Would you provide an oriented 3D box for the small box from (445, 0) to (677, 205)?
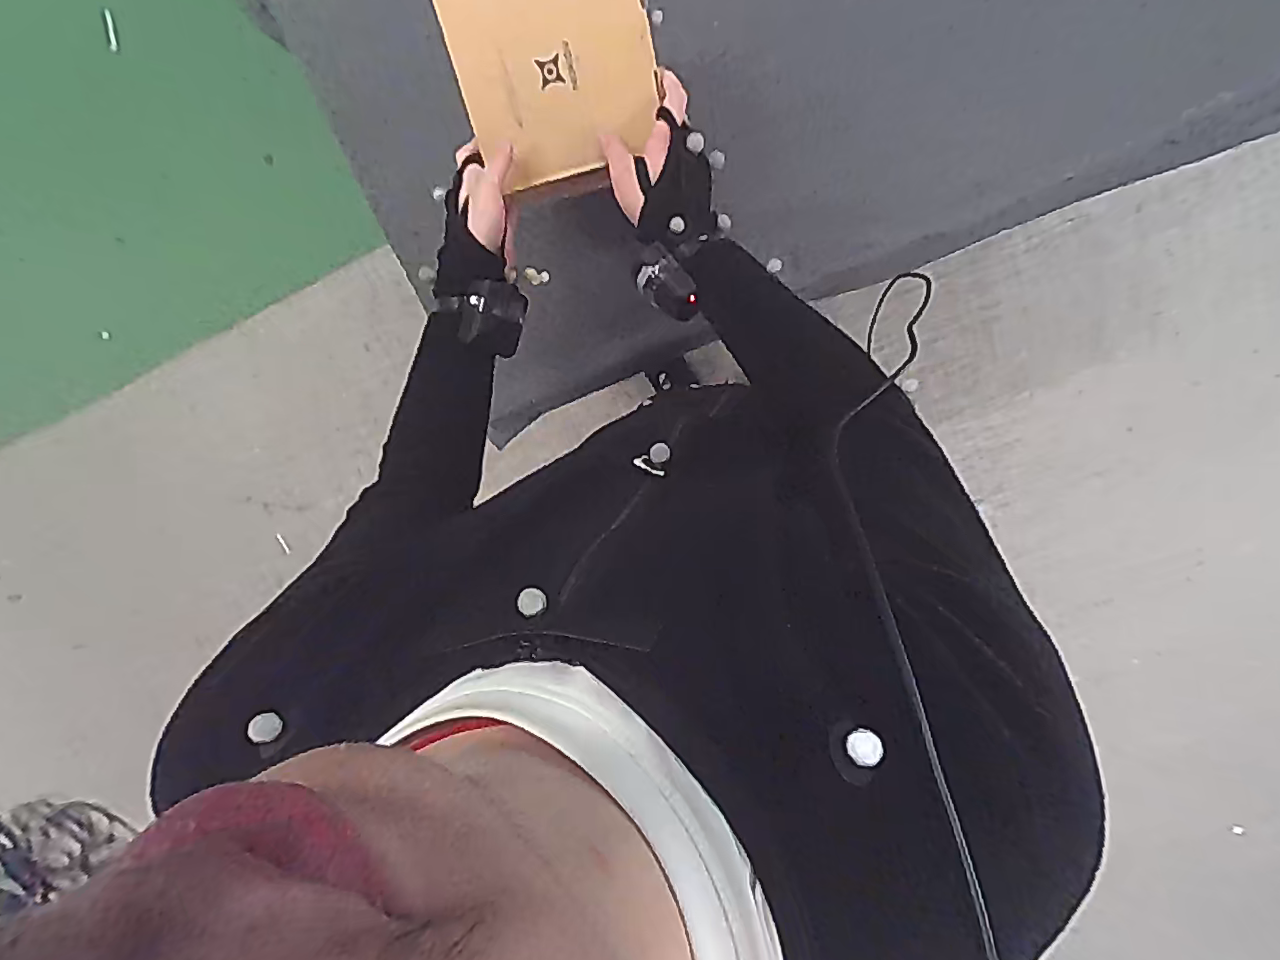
[{"bbox_3d":[-0.062,-0.384,0.539,0.179,0.176,0.168,-9,112,7],"label":"small box"}]
